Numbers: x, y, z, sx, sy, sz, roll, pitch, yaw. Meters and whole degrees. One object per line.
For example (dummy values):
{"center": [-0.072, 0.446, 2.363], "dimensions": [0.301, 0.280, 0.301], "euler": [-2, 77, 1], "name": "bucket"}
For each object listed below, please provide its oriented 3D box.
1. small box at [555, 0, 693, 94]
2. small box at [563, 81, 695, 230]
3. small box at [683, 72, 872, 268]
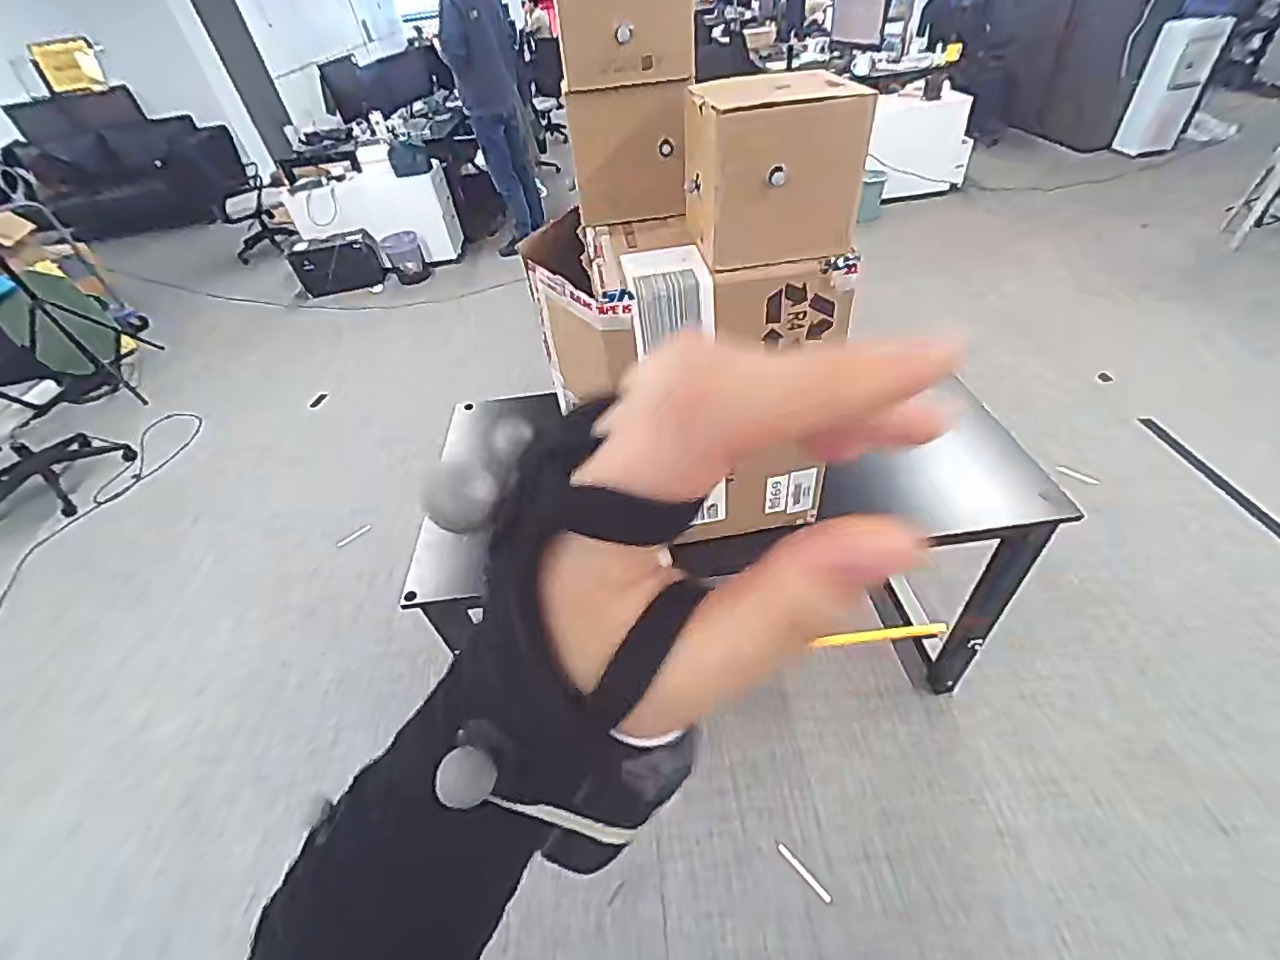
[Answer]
{"center": [-0.026, -0.617, 0.705], "dimensions": [0.168, 0.176, 0.179], "euler": [-8, 41, -2], "name": "small box"}
{"center": [-0.015, -0.498, 0.818], "dimensions": [0.179, 0.176, 0.168], "euler": [-9, 40, -2], "name": "small box"}
{"center": [0.157, -0.381, 0.672], "dimensions": [0.179, 0.176, 0.168], "euler": [-9, 46, -2], "name": "small box"}
